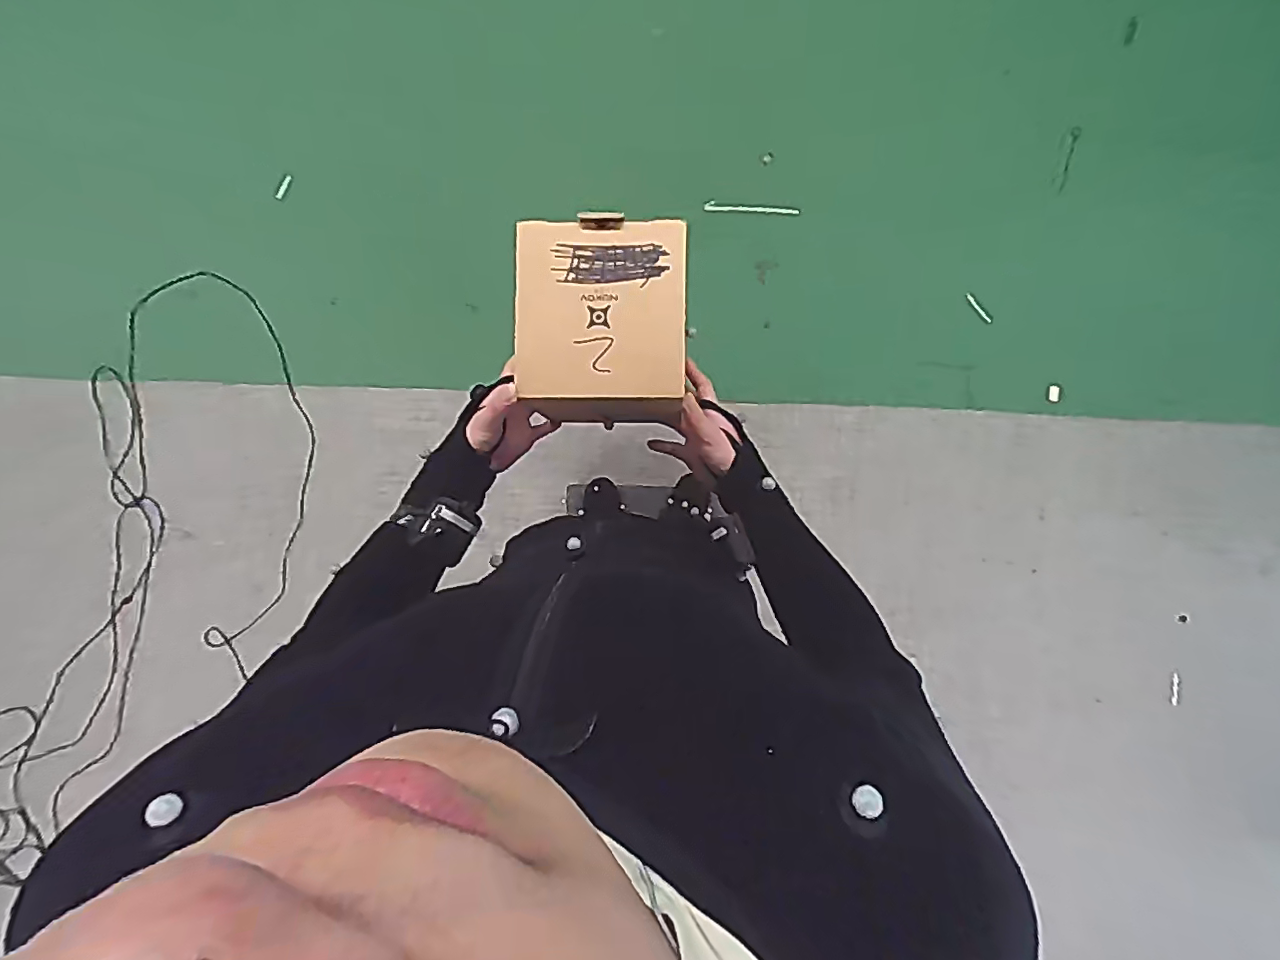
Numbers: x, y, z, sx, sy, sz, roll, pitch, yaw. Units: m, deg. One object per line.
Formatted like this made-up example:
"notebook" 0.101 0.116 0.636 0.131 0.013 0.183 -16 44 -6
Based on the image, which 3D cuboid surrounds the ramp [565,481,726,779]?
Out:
"ramp" 0.009 0.497 1.715 0.509 0.206 0.991 0 90 1
